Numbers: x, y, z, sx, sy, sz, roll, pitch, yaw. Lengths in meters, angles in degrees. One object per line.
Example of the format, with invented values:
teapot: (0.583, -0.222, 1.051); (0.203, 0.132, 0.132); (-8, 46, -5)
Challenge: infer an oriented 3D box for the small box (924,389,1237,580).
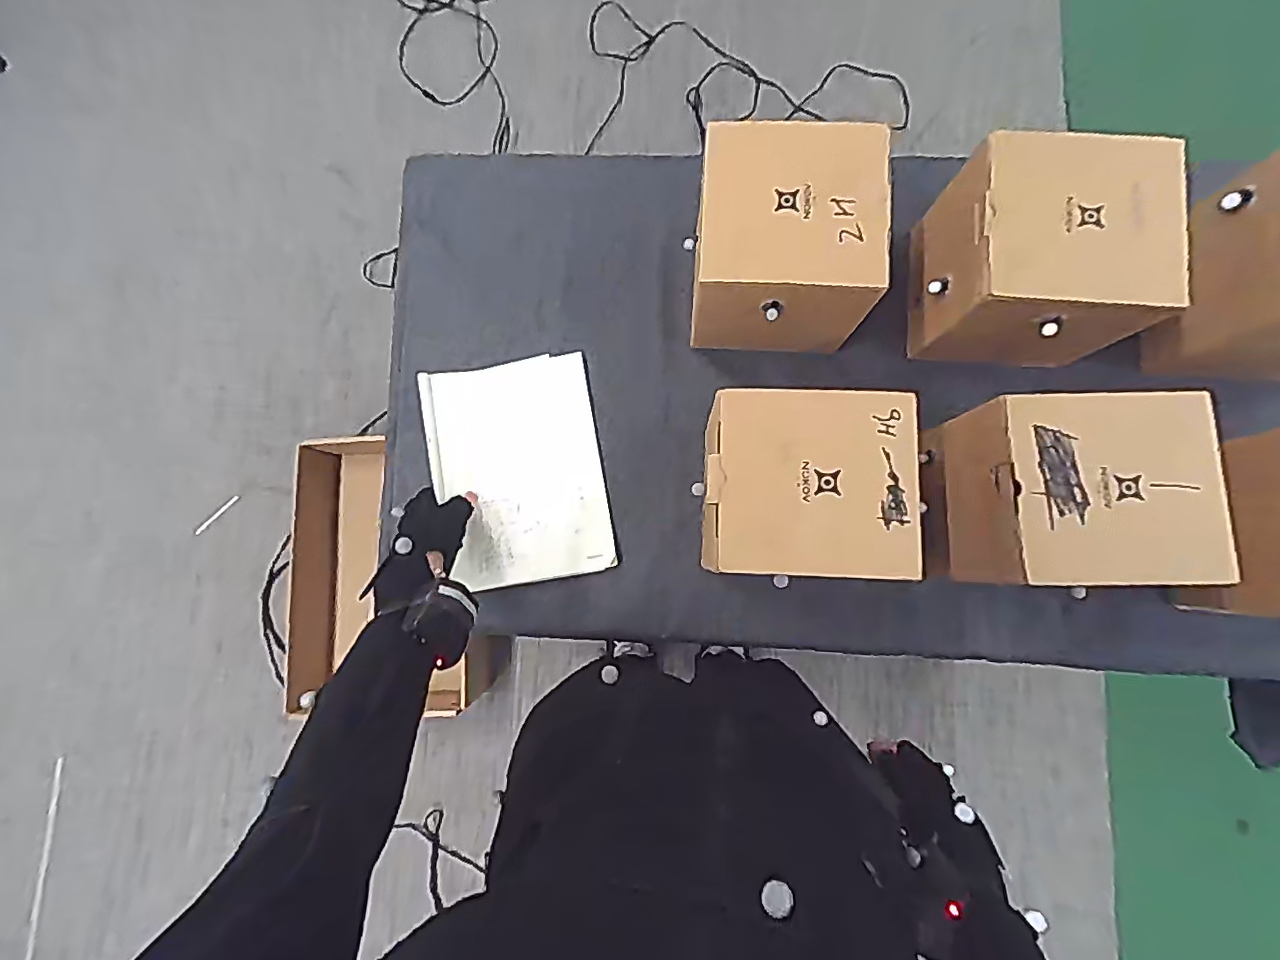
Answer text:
small box: (0.404, 0.014, 0.535); (0.179, 0.176, 0.168); (0, 82, 2)

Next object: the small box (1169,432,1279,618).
small box: (0.664, 0.047, 0.522); (0.168, 0.176, 0.179); (6, 82, 4)
